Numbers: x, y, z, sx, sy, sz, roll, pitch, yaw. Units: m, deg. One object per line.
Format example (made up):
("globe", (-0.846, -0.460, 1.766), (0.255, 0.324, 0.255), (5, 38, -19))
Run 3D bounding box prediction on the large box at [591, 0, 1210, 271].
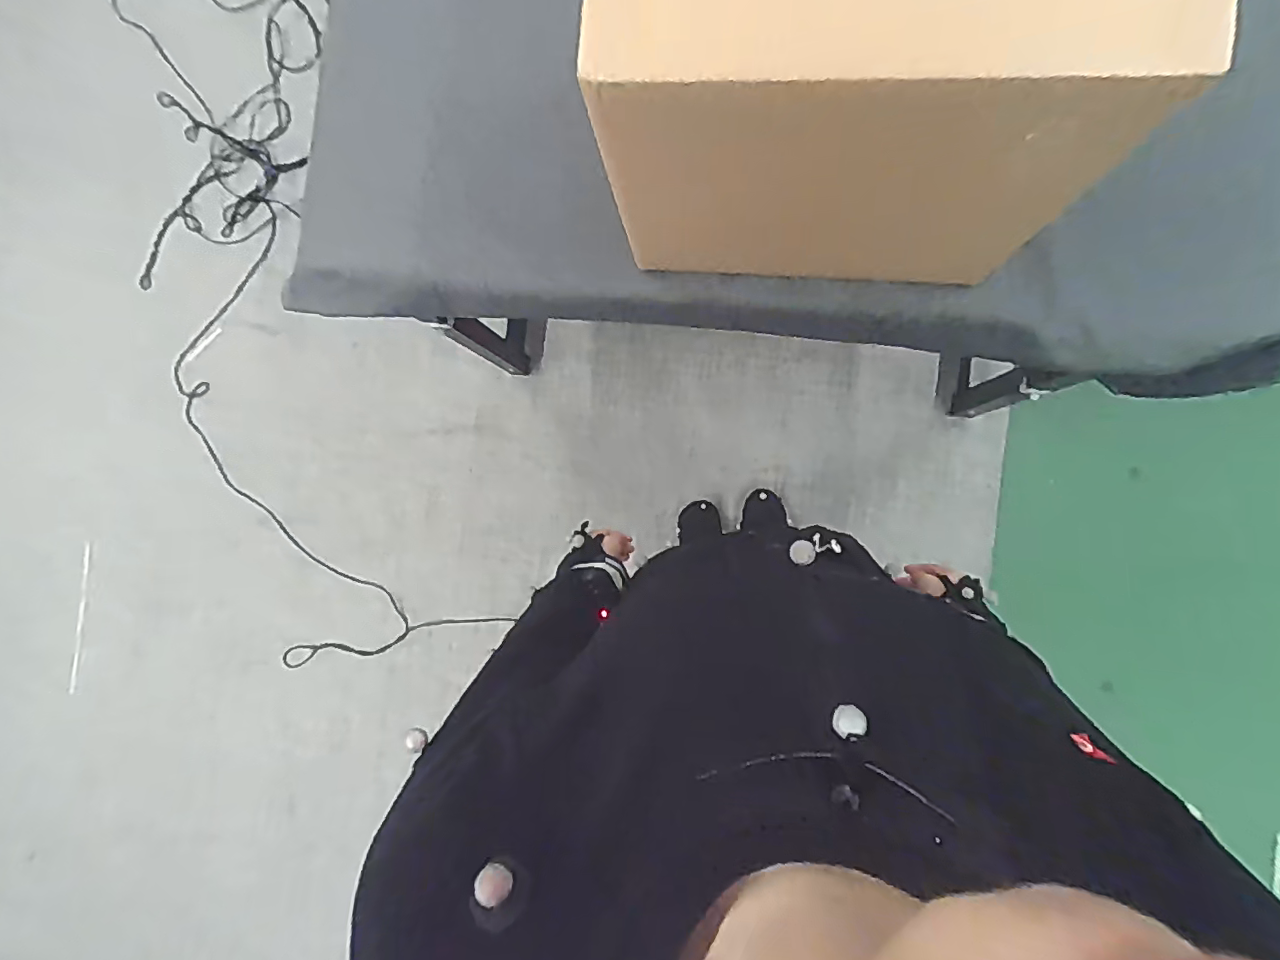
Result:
("large box", (0.186, -0.414, 0.515), (0.408, 0.320, 0.320), (5, 88, 7))
